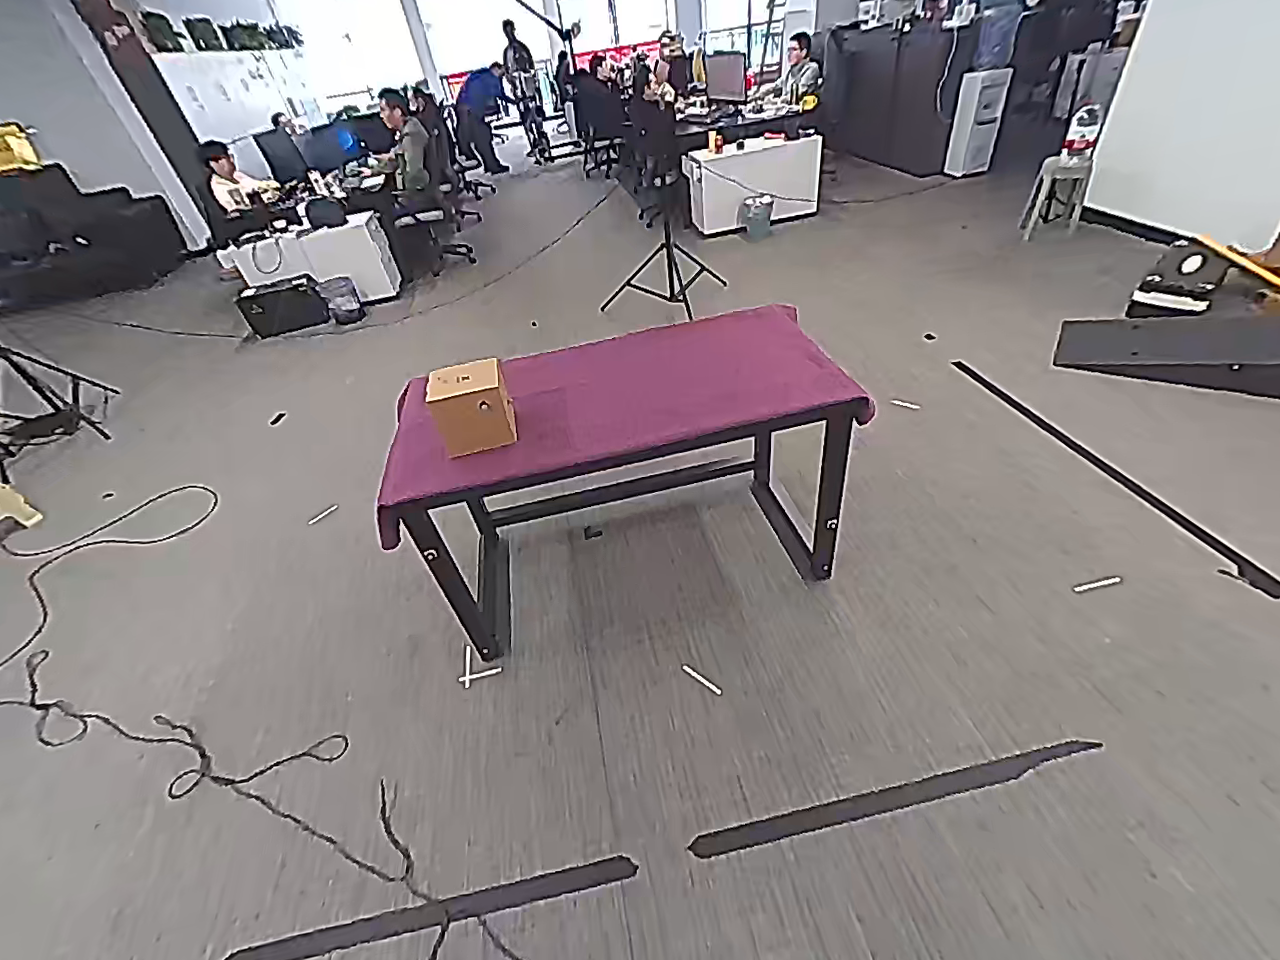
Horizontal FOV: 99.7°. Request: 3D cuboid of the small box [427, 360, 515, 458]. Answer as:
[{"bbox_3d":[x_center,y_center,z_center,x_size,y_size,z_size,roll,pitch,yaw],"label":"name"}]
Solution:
[{"bbox_3d":[-0.422,-0.181,1.379,0.179,0.176,0.168,-14,39,-6],"label":"small box"}]
